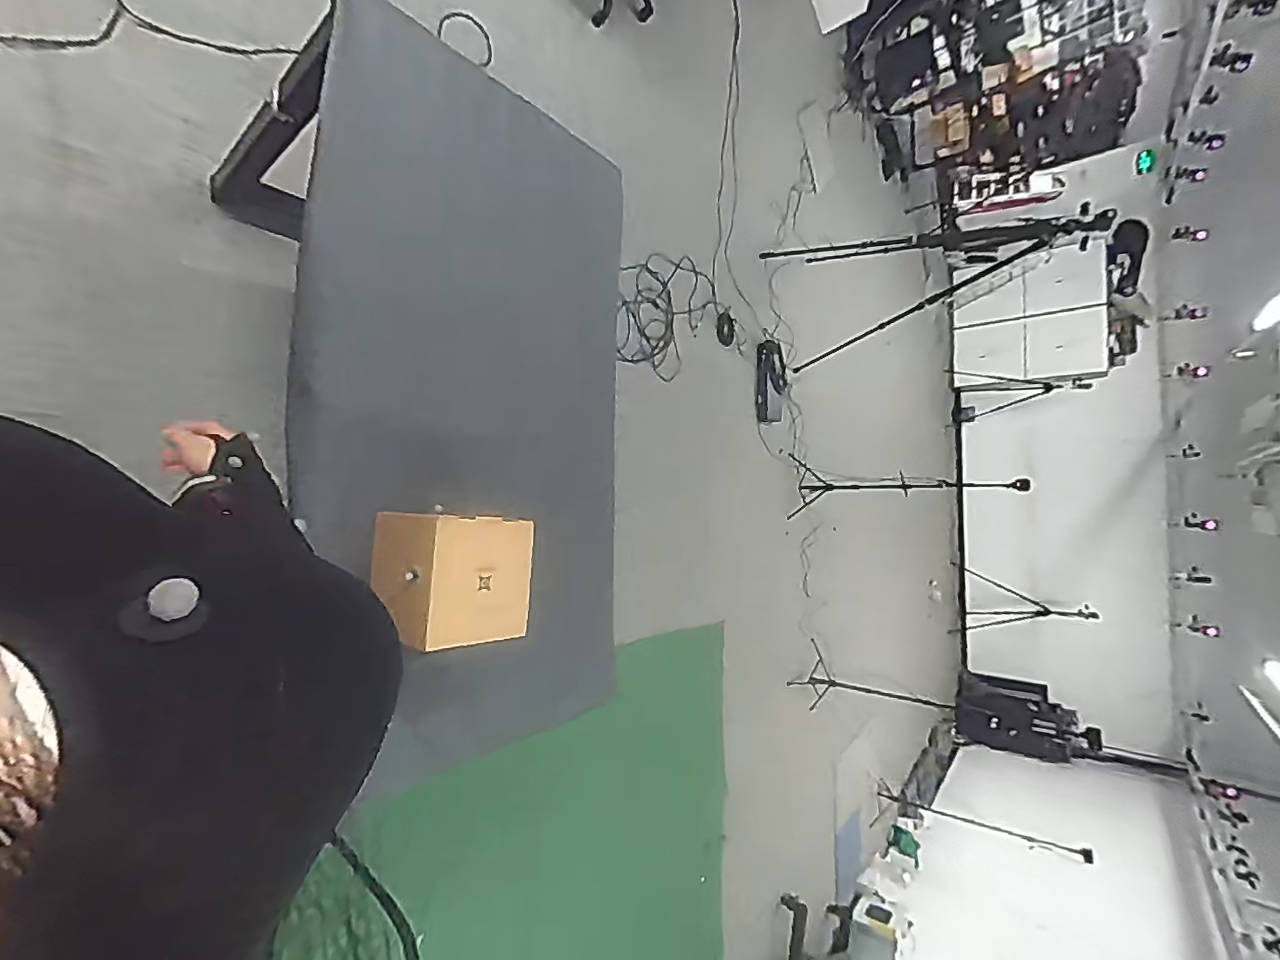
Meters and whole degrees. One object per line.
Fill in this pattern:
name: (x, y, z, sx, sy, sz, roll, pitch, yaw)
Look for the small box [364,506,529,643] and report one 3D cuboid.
small box: (-0.285, 0.130, 0.799, 0.168, 0.176, 0.179, 9, 83, -51)
